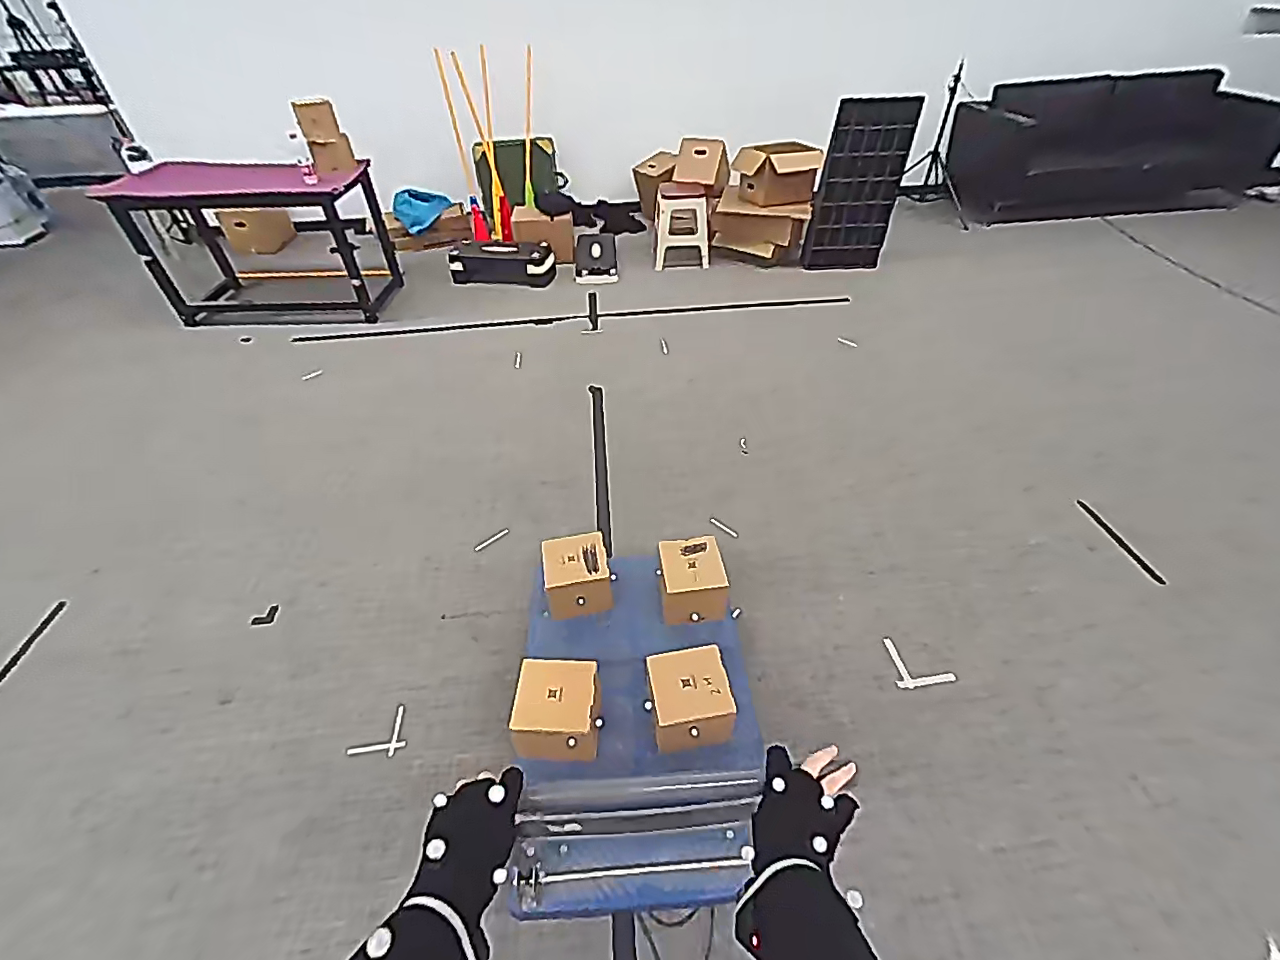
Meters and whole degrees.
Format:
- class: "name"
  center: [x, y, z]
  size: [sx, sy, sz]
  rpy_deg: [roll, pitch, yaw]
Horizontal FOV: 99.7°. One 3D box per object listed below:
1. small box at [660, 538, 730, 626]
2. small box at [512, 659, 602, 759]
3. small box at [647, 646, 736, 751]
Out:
- class: "small box"
  center: [0.148, 0.287, 1.528]
  size: [0.168, 0.176, 0.179]
  rpy_deg: [-6, 44, -4]
- class: "small box"
  center: [-0.186, 0.540, 1.271]
  size: [0.179, 0.176, 0.168]
  rpy_deg: [2, 43, 1]
- class: "small box"
  center: [0.117, 0.521, 1.282]
  size: [0.179, 0.176, 0.168]
  rpy_deg: [-7, 44, -6]
